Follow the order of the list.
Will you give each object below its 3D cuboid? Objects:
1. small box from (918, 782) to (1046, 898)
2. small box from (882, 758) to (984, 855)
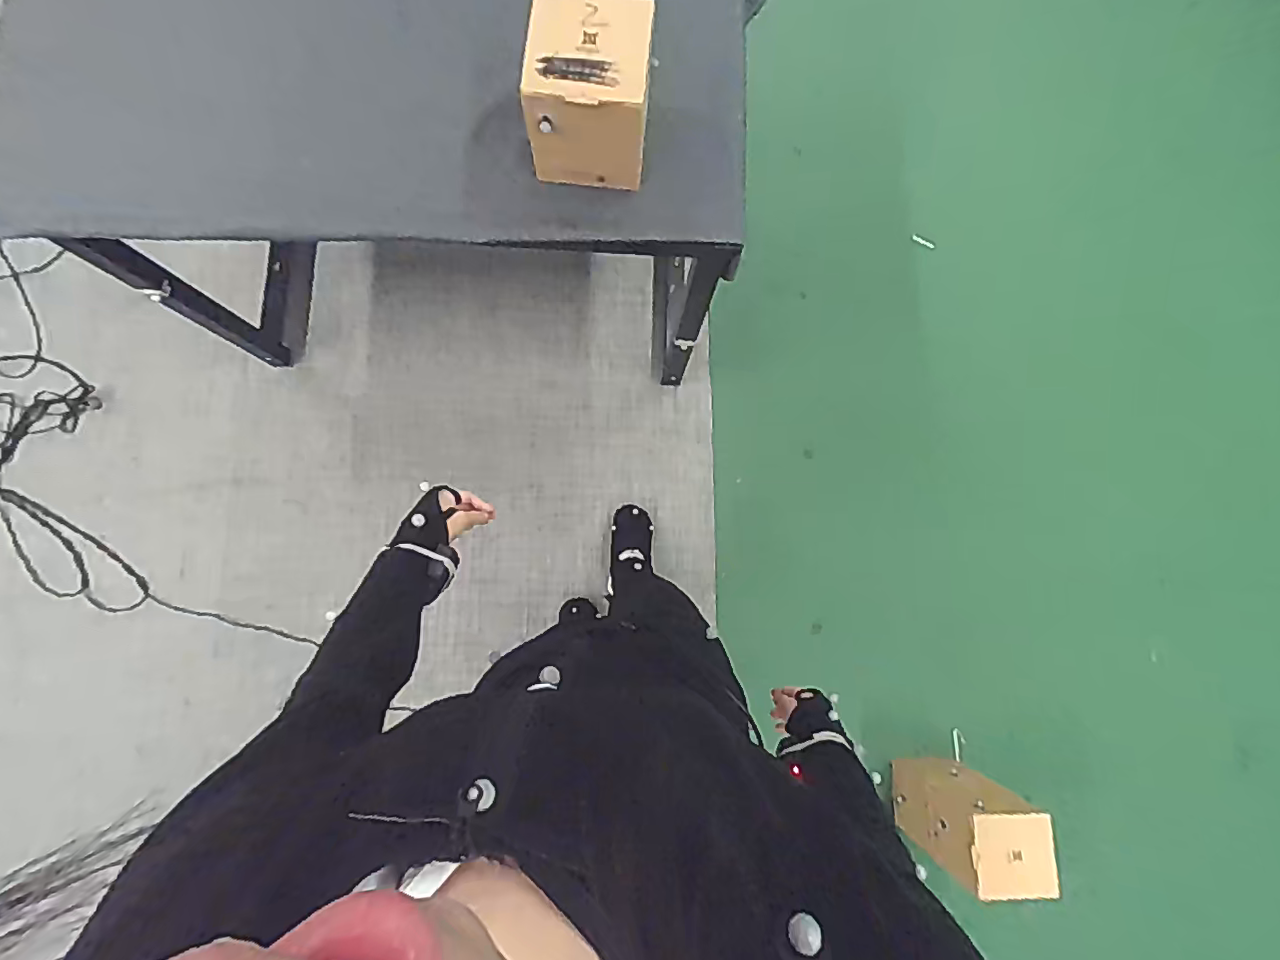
[{"bbox_3d":[0.763,0.803,1.223,0.179,0.176,0.168,0,81,-5],"label":"small box"},{"bbox_3d":[0.748,0.827,1.382,0.179,0.176,0.168,1,80,-5],"label":"small box"}]
